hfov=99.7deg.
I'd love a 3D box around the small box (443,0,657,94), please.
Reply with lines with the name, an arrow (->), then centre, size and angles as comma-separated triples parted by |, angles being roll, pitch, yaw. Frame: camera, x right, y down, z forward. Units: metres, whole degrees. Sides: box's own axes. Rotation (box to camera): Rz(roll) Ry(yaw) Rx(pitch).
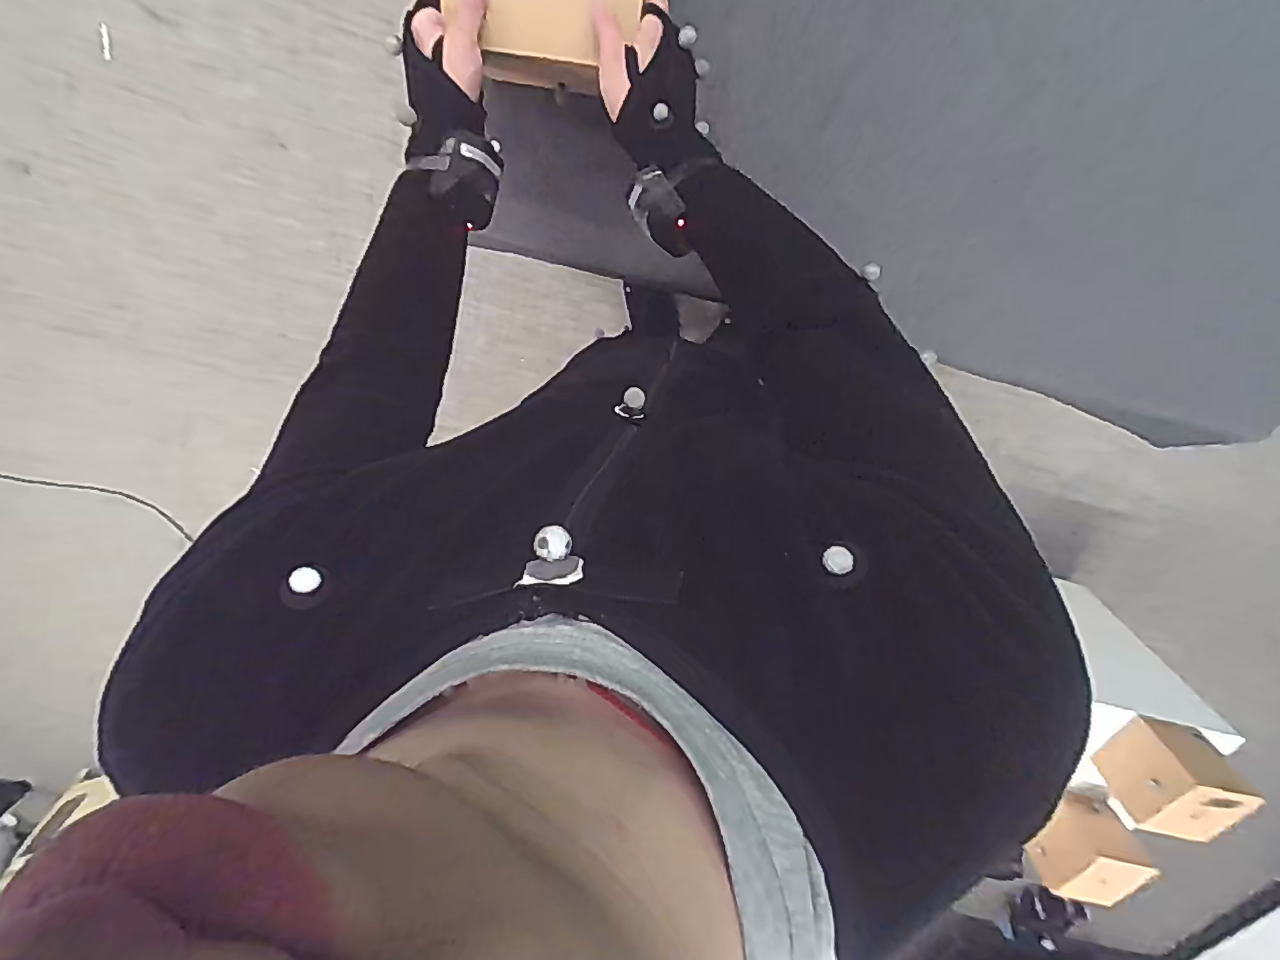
small box -> -0.070, -0.473, 0.496 | 0.179, 0.176, 0.168 | 7, 118, -4

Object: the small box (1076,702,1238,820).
small box -> 1.175, 0.644, 1.250 | 0.168, 0.176, 0.179 | 14, 121, -7

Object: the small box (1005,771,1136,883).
small box -> 1.091, 0.893, 1.395 | 0.168, 0.176, 0.179 | 16, 117, -9
